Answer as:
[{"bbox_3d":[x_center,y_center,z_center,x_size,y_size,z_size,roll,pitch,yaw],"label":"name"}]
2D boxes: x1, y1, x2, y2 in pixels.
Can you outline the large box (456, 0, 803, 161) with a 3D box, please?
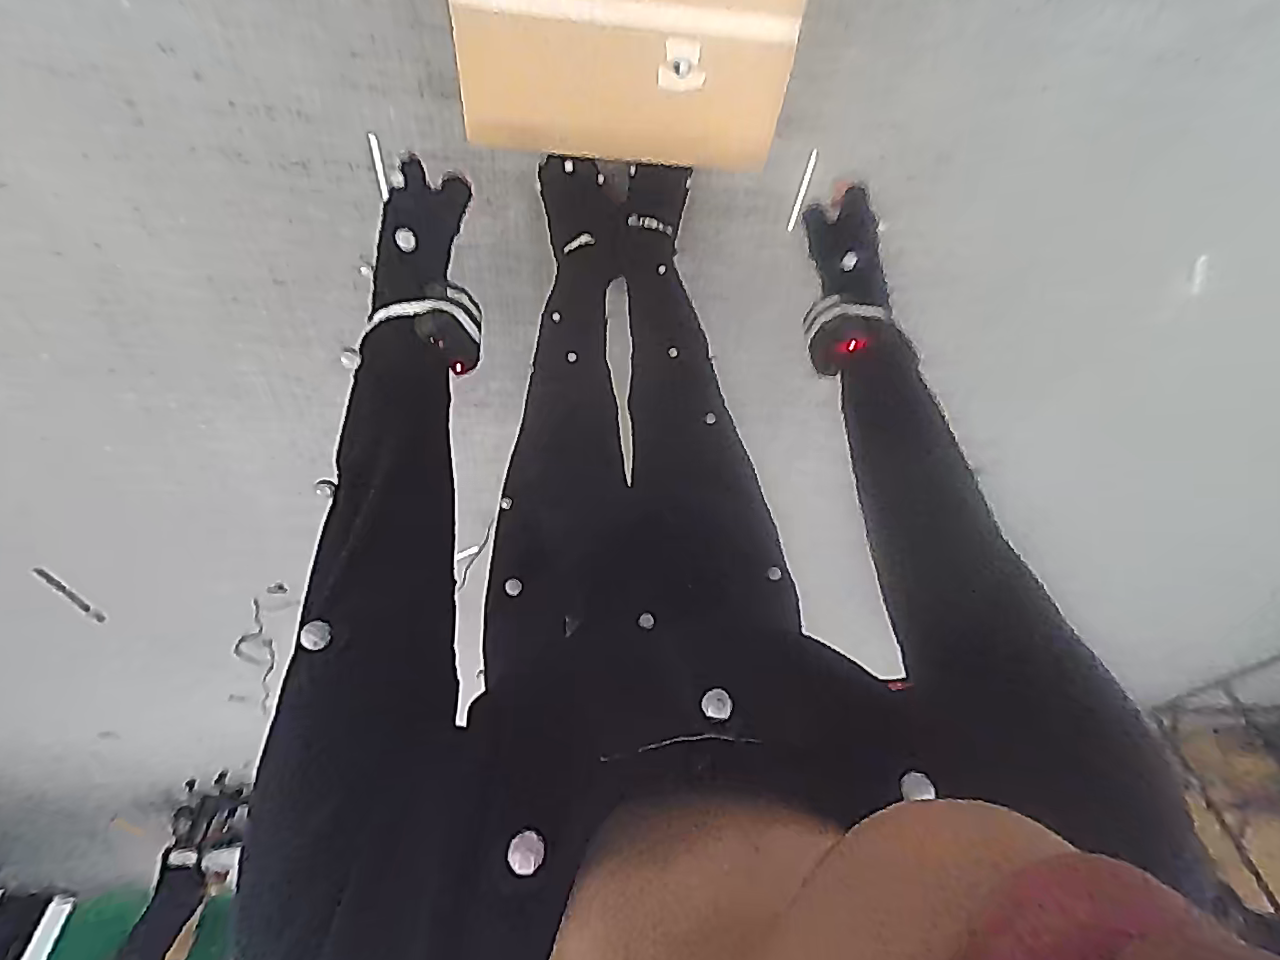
[{"bbox_3d":[-0.023,-0.654,0.713,0.408,0.320,0.320,0,140,-7],"label":"large box"}]
